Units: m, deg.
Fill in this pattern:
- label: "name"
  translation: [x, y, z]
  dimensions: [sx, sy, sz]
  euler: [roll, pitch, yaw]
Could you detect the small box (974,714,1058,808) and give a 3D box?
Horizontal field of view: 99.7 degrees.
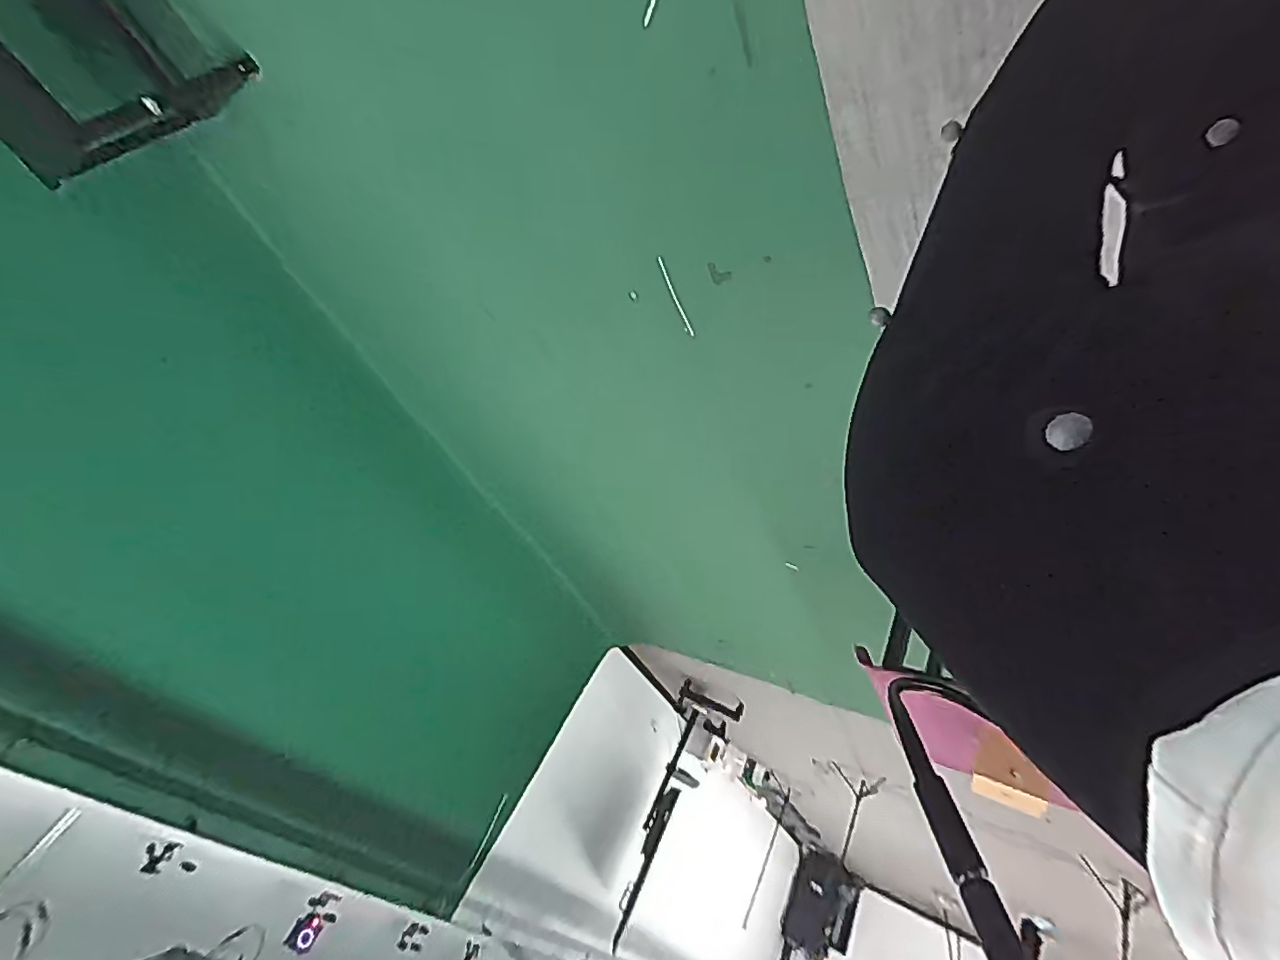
- label: "small box"
  translation: [1.090, 0.811, 1.570]
  dimensions: [0.179, 0.176, 0.168]
  euler: [11, 144, 33]
